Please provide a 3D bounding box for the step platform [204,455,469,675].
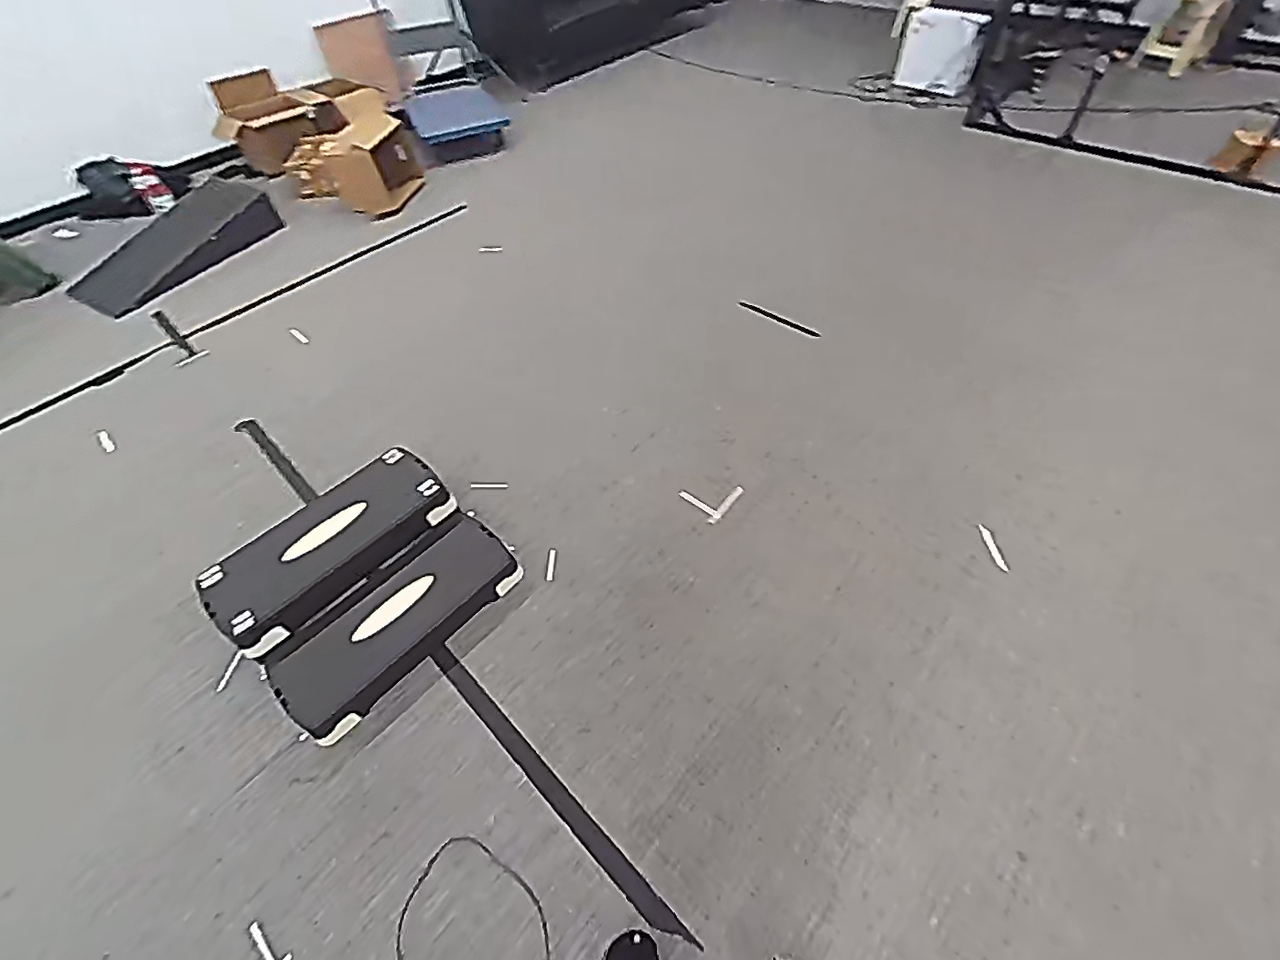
[{"bbox_3d":[-0.863,0.224,1.590,0.286,0.204,0.684,34,61,26],"label":"step platform"}]
